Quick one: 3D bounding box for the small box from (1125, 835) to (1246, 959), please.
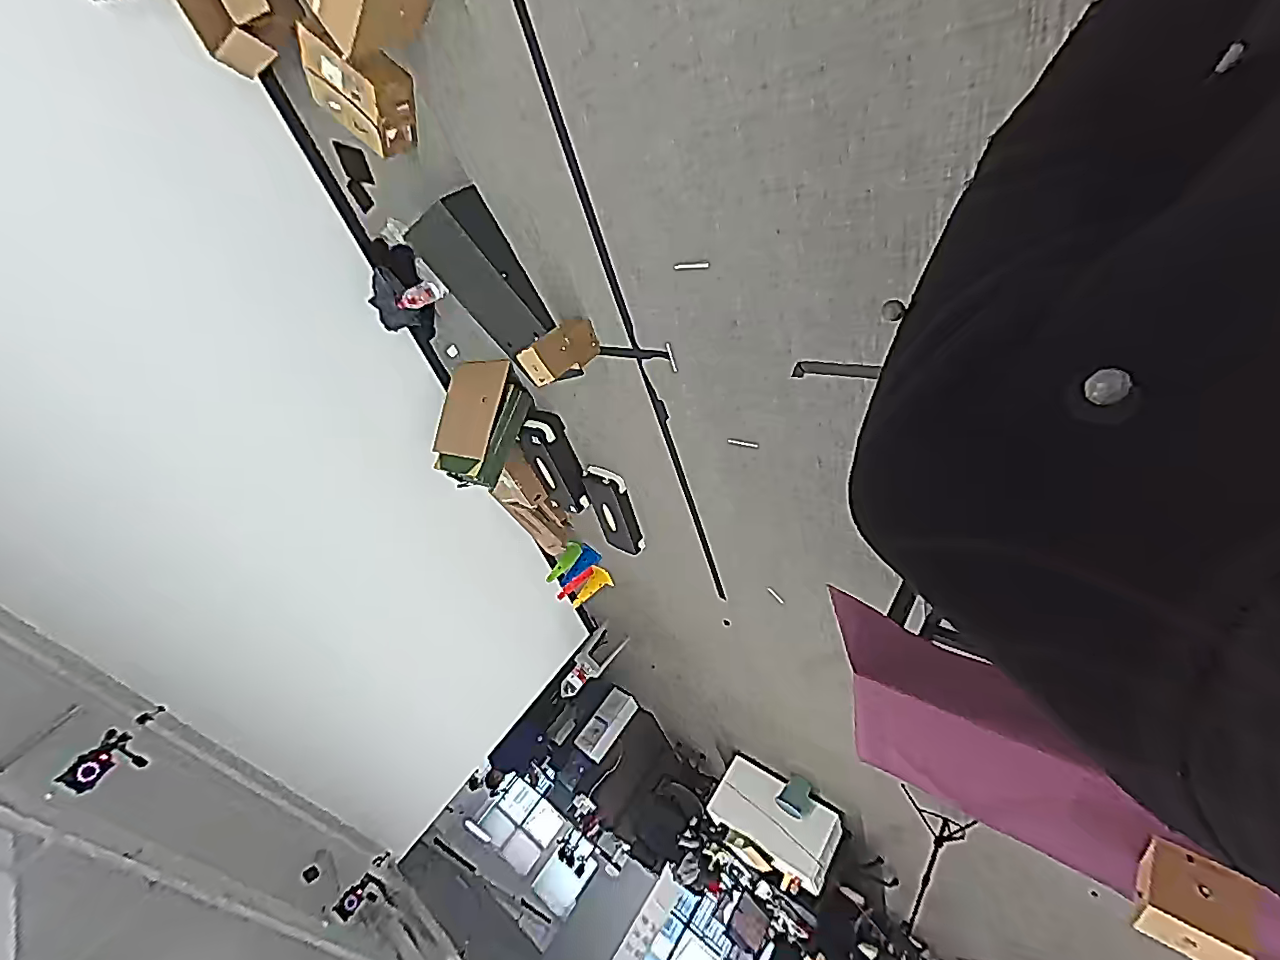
[{"bbox_3d":[1.268,0.977,1.261,0.168,0.176,0.179,14,139,40],"label":"small box"}]
